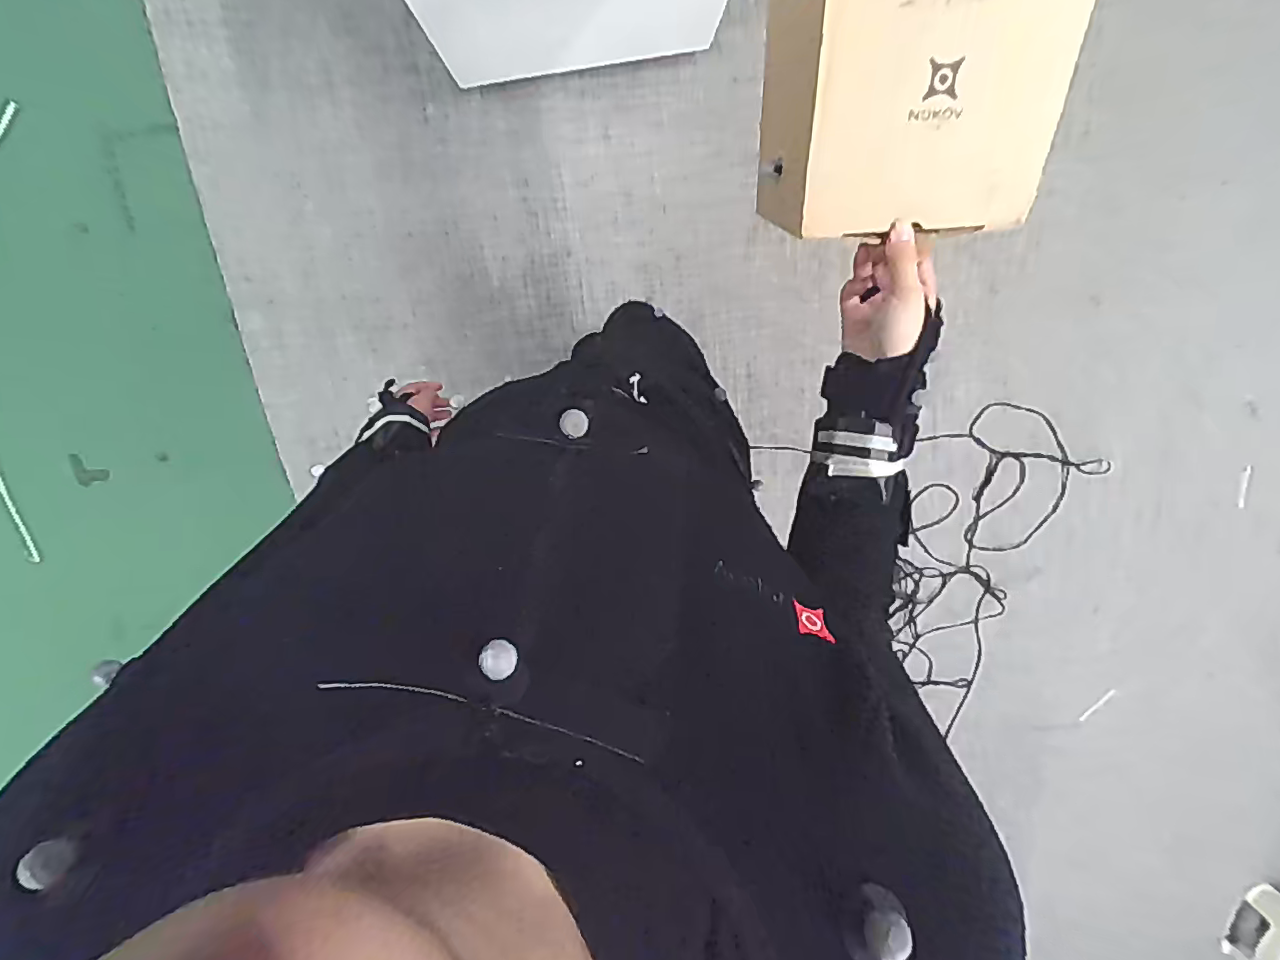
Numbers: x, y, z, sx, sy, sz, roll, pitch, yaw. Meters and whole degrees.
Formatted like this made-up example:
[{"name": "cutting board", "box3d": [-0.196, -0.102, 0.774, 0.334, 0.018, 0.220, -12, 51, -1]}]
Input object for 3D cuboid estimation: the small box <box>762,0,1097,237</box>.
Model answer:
[{"name": "small box", "box3d": [0.193, -0.296, 0.413, 0.168, 0.176, 0.179, -4, 121, 1]}]
